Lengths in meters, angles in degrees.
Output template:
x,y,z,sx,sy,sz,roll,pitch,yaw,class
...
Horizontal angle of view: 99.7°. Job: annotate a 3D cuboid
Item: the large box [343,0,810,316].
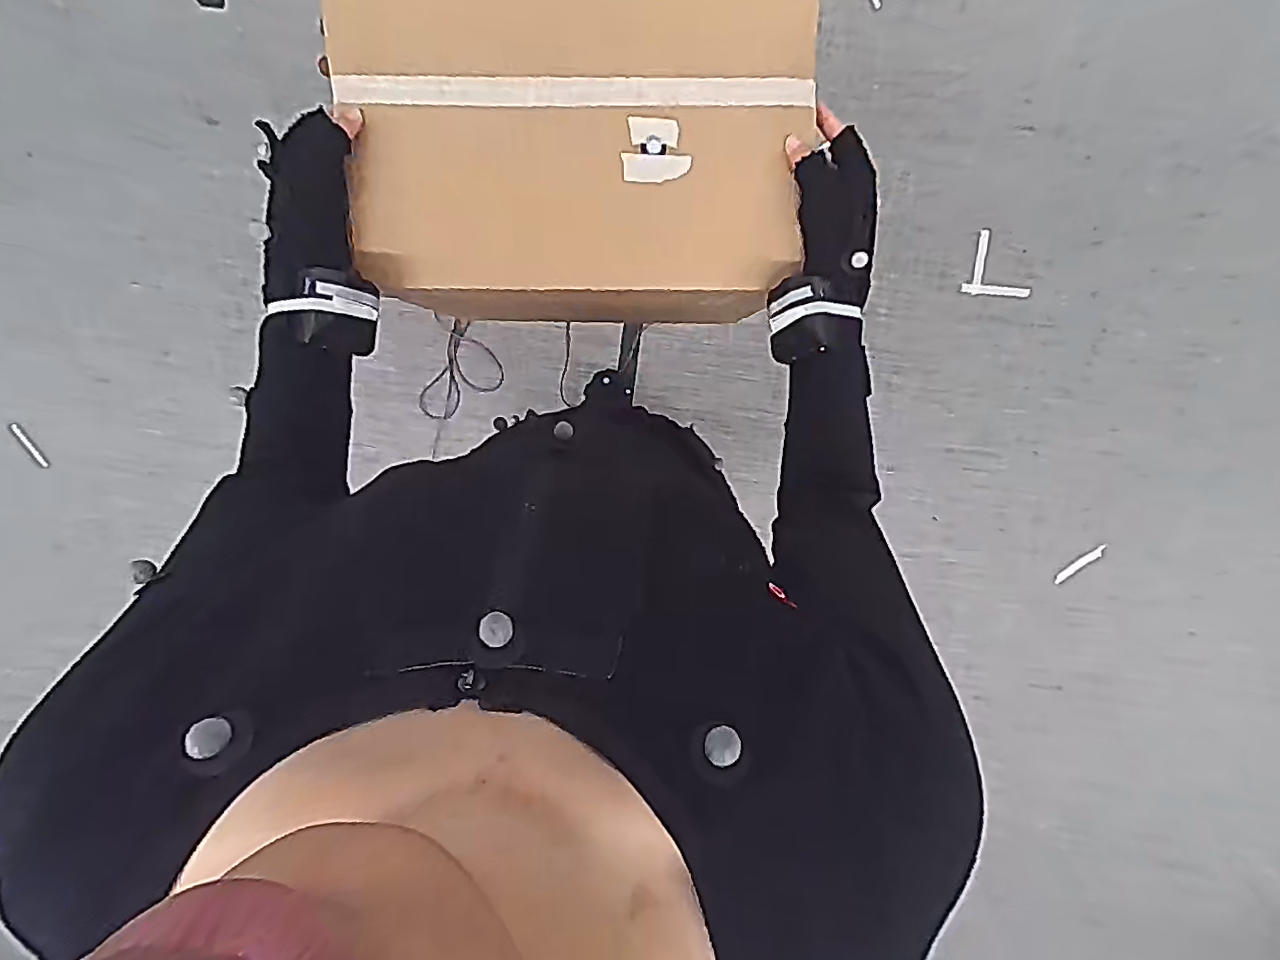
x,y,z,sx,sy,sz,roll,pitch,yaw,class
-0.057,-0.366,0.619,0.408,0.320,0.320,0,102,-2,large box
